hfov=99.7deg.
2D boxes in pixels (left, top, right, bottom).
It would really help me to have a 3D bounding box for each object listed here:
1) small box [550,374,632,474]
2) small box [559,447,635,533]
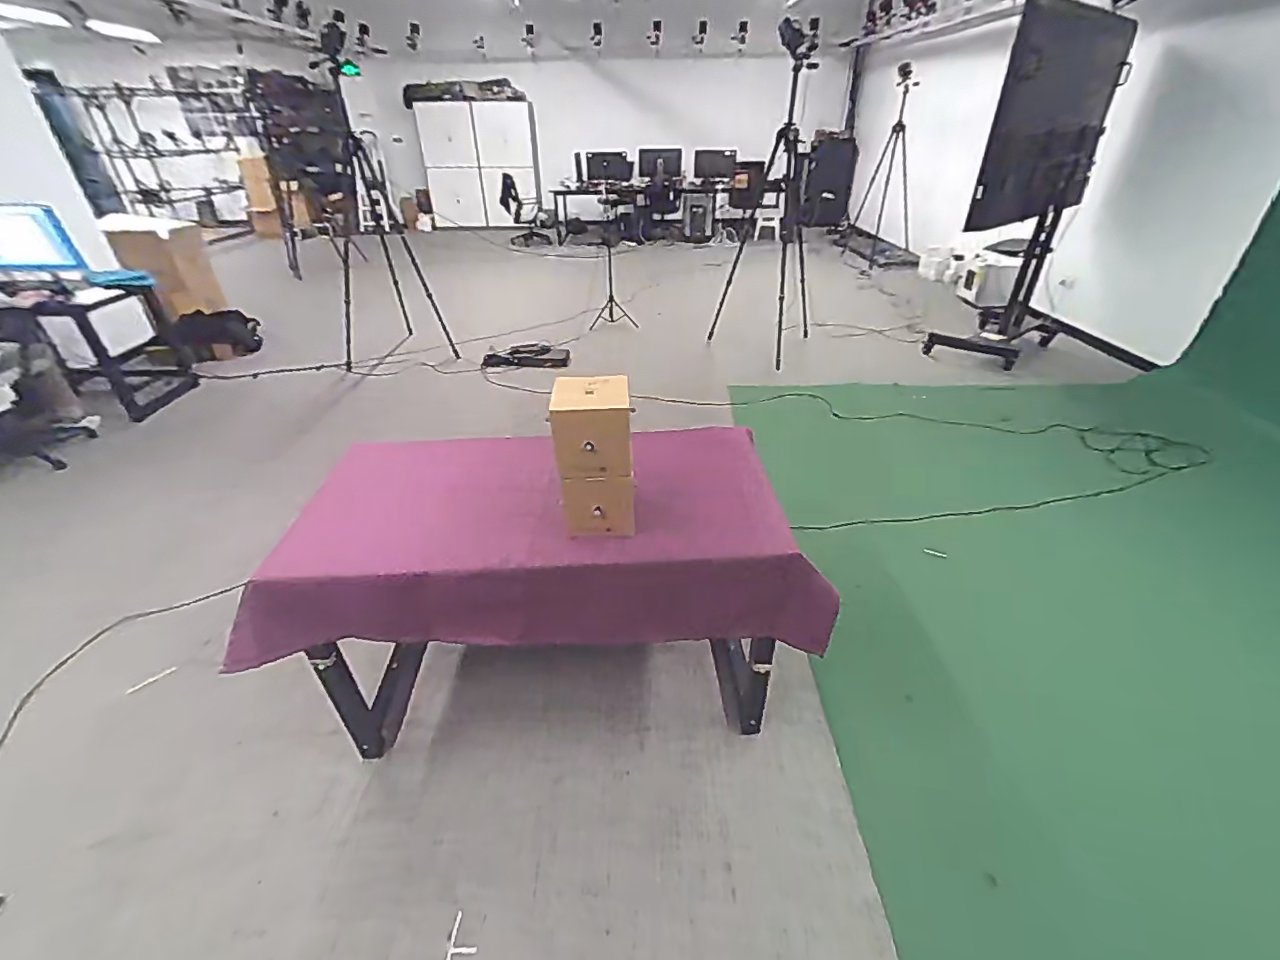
[{"bbox_3d":[-0.102,-0.123,1.205,0.168,0.176,0.179,-2,33,-2],"label":"small box"},{"bbox_3d":[-0.097,0.015,1.296,0.168,0.176,0.179,-1,34,-1],"label":"small box"}]
